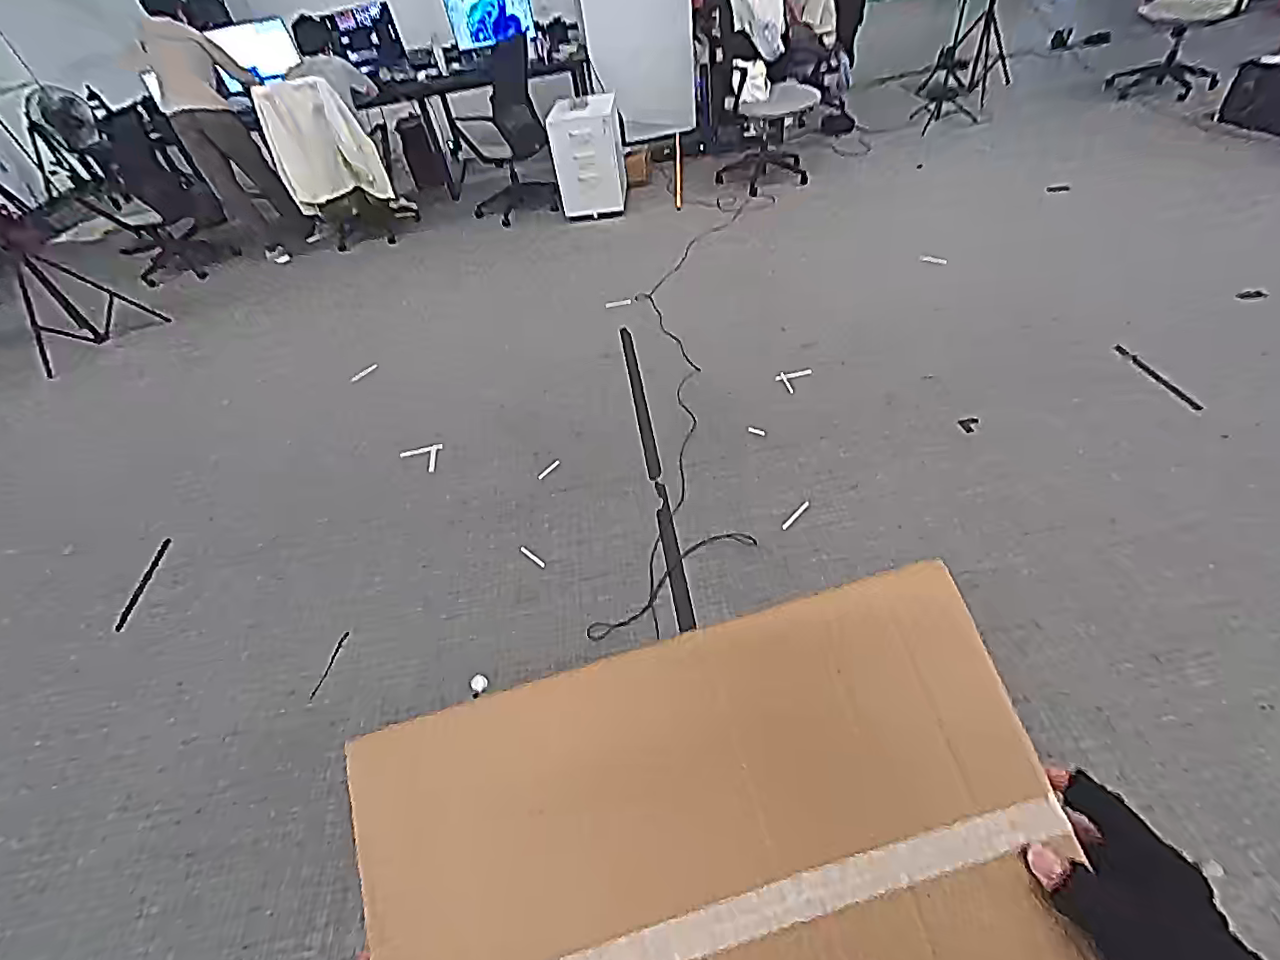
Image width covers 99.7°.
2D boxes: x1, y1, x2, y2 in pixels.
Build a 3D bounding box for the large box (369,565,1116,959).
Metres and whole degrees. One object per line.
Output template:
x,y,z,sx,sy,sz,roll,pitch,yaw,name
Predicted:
0.061,0.300,0.458,0.408,0.320,0.320,-17,74,-2,large box
